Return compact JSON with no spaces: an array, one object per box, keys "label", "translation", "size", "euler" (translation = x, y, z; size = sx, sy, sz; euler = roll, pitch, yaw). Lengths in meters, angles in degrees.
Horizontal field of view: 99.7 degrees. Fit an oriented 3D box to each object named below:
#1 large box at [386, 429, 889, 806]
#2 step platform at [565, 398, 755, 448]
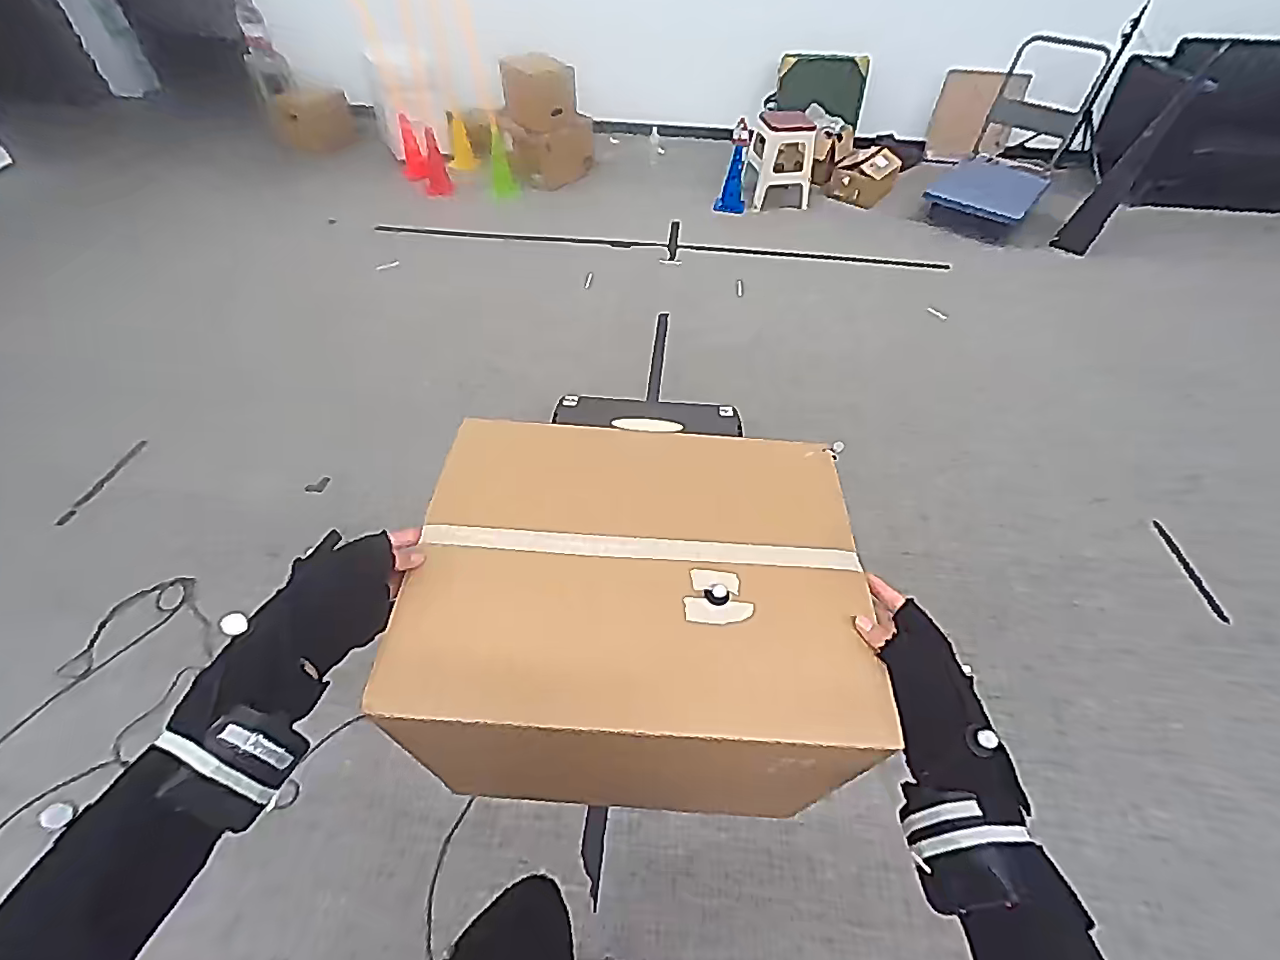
[{"label":"large box","translation":[-0.005,0.167,0.627],"size":[0.408,0.320,0.320],"euler":[5,50,-1]},{"label":"step platform","translation":[0.068,-0.125,1.961],"size":[0.684,0.204,0.286],"euler":[4,49,0]}]
